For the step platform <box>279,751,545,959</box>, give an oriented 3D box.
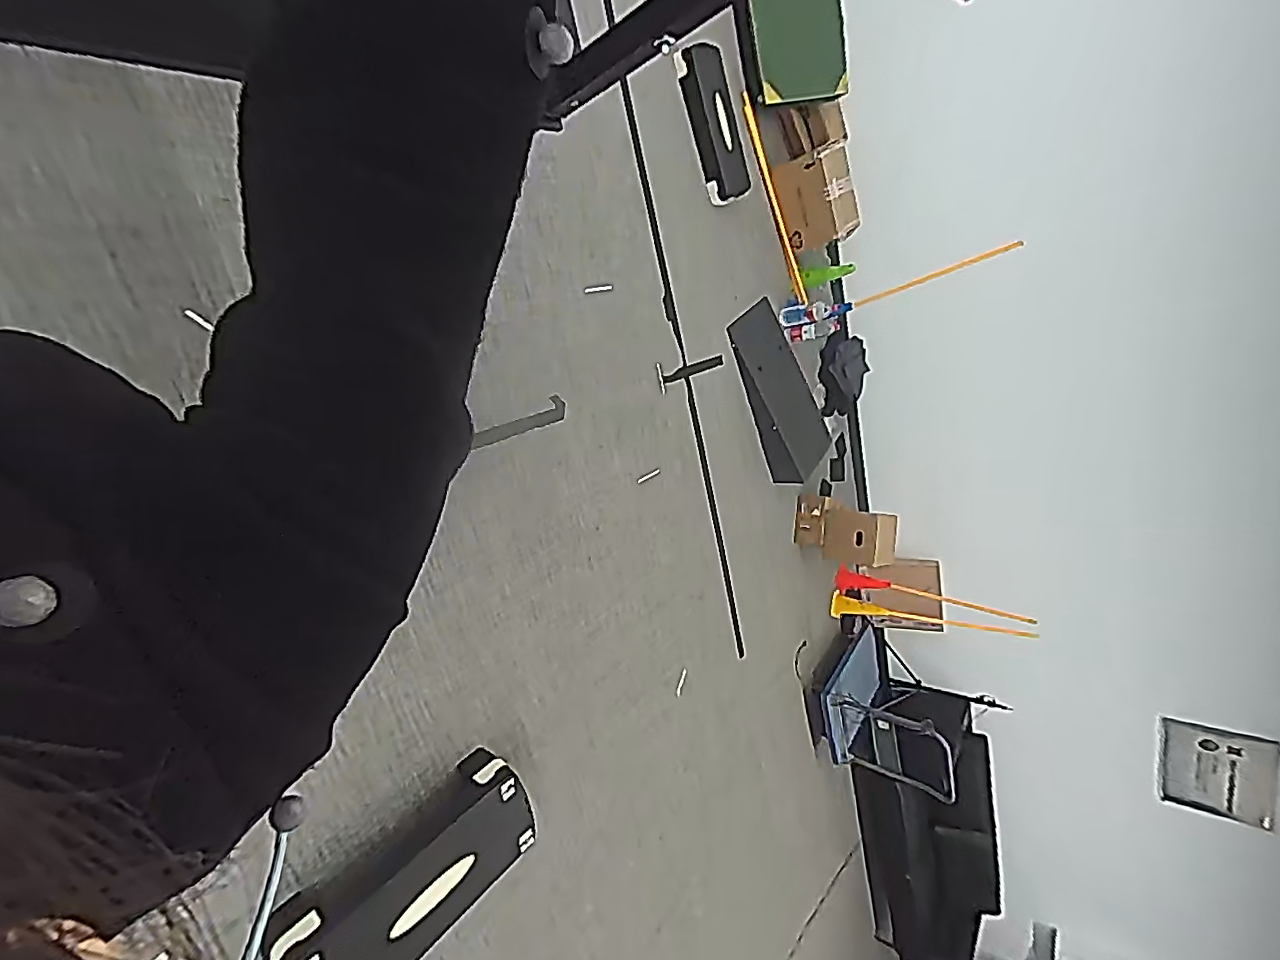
[{"bbox_3d":[-0.584,1.092,1.517,0.684,0.204,0.286,-21,106,-47],"label":"step platform"}]
